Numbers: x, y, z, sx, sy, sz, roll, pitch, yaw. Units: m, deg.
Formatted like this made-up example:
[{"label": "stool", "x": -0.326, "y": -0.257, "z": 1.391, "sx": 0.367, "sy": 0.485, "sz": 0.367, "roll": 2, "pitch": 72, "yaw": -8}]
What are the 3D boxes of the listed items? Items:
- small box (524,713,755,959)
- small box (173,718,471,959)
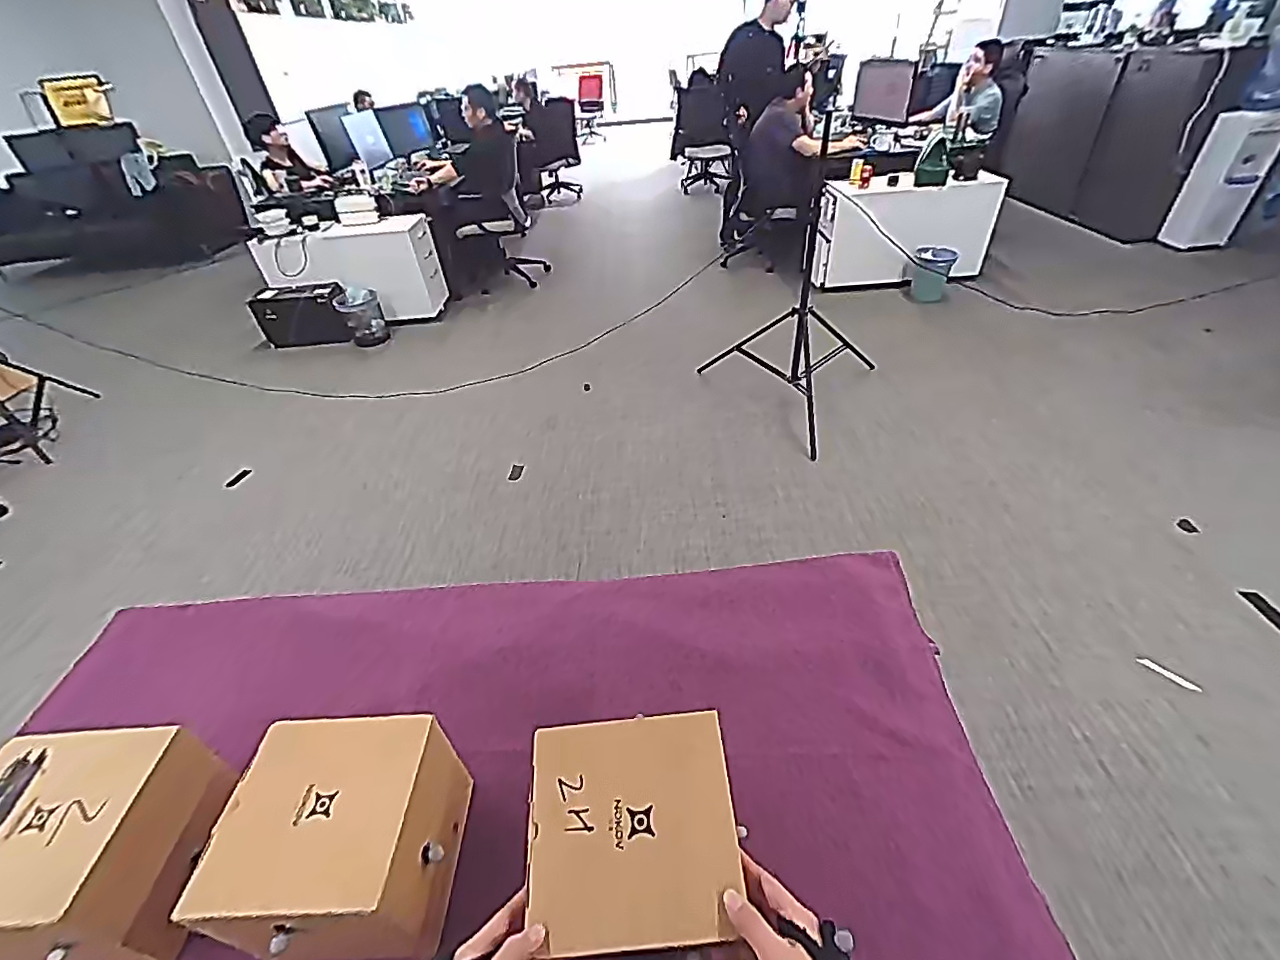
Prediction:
[{"label": "small box", "x": 0.001, "y": 0.336, "z": 0.512, "sx": 0.179, "sy": 0.176, "sz": 0.168, "roll": -7, "pitch": 50, "yaw": 2}, {"label": "small box", "x": -0.289, "y": 0.363, "z": 0.547, "sx": 0.179, "sy": 0.176, "sz": 0.168, "roll": -4, "pitch": 39, "yaw": 2}]
